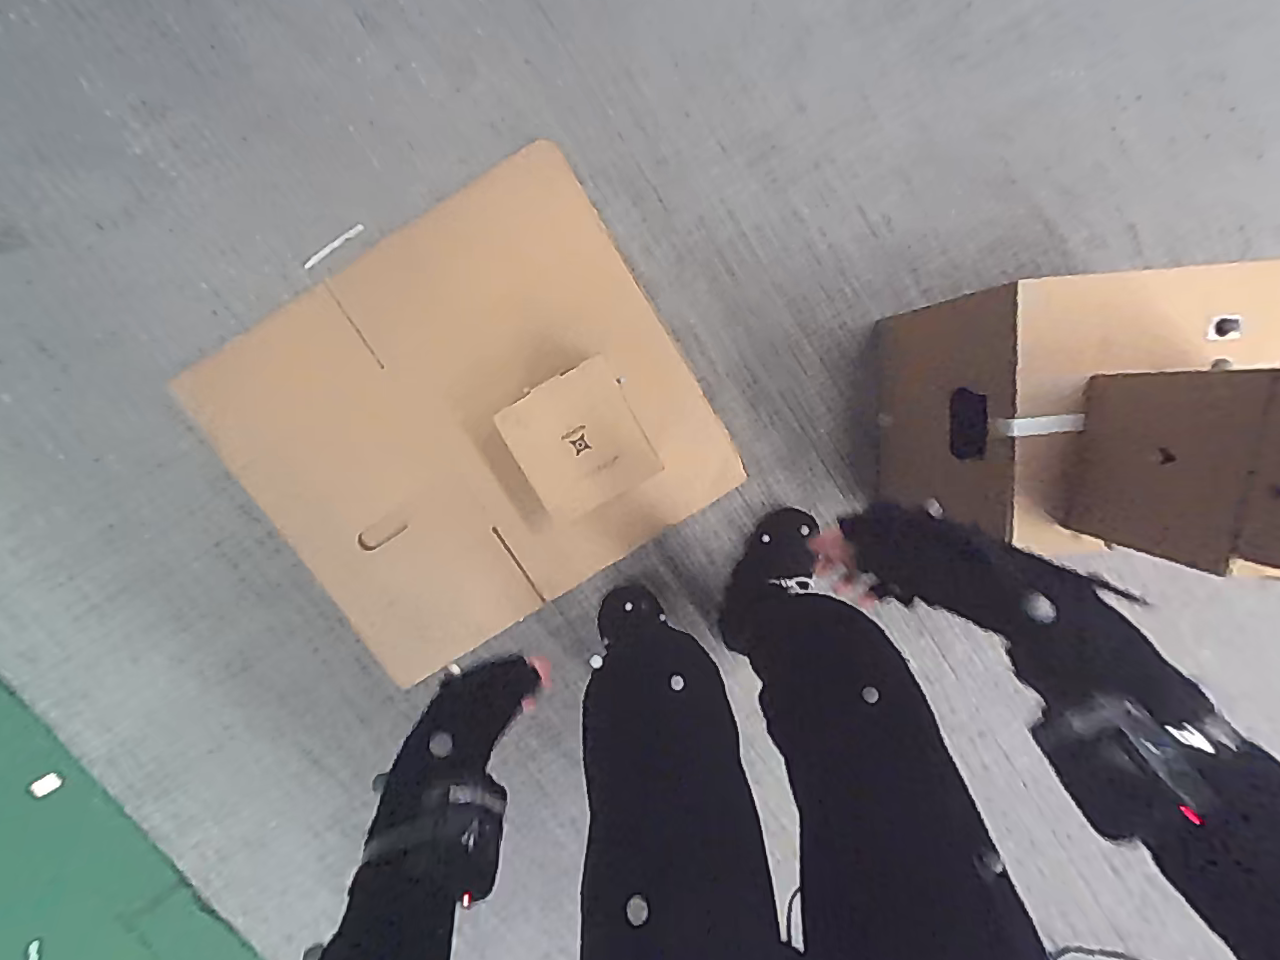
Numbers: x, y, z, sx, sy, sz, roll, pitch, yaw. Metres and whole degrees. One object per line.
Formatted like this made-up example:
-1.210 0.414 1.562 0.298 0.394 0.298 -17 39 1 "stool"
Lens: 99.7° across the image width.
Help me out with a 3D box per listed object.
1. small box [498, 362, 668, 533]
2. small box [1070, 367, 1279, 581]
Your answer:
-0.077 -0.051 0.787 0.168 0.176 0.179 -30 98 3 "small box"
0.565 -0.013 0.521 0.168 0.176 0.179 2 98 -3 "small box"
